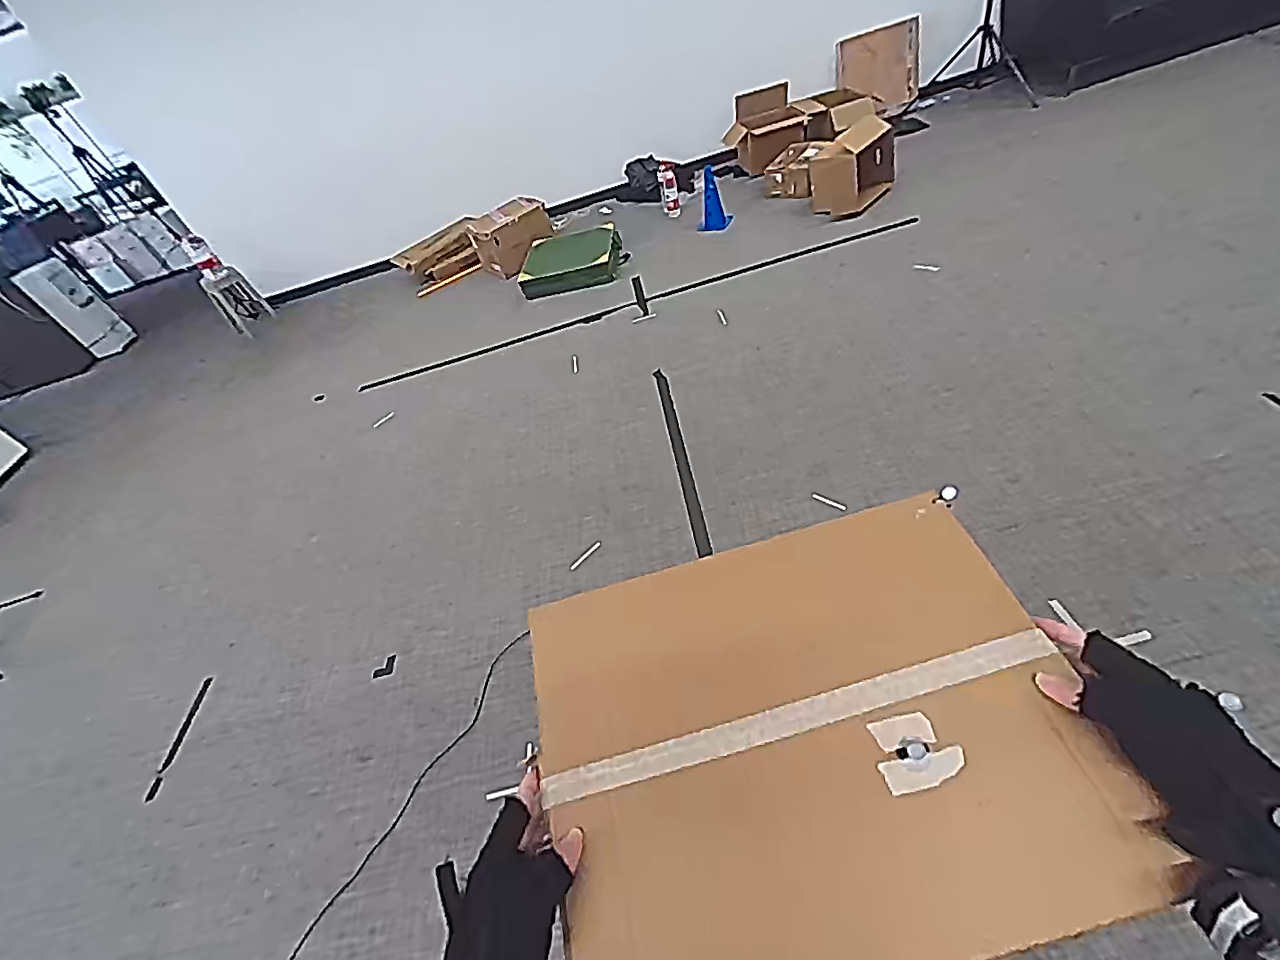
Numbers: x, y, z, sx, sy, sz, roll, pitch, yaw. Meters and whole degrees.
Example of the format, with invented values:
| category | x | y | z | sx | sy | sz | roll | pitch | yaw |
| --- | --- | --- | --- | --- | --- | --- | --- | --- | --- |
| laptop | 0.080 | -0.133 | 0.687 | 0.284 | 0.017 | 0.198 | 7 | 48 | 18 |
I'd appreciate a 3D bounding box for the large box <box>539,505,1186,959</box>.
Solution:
| category | x | y | z | sx | sy | sz | roll | pitch | yaw |
| --- | --- | --- | --- | --- | --- | --- | --- | --- | --- |
| large box | 0.149 | 0.285 | 0.546 | 0.408 | 0.320 | 0.320 | -17 | 51 | 0 |
